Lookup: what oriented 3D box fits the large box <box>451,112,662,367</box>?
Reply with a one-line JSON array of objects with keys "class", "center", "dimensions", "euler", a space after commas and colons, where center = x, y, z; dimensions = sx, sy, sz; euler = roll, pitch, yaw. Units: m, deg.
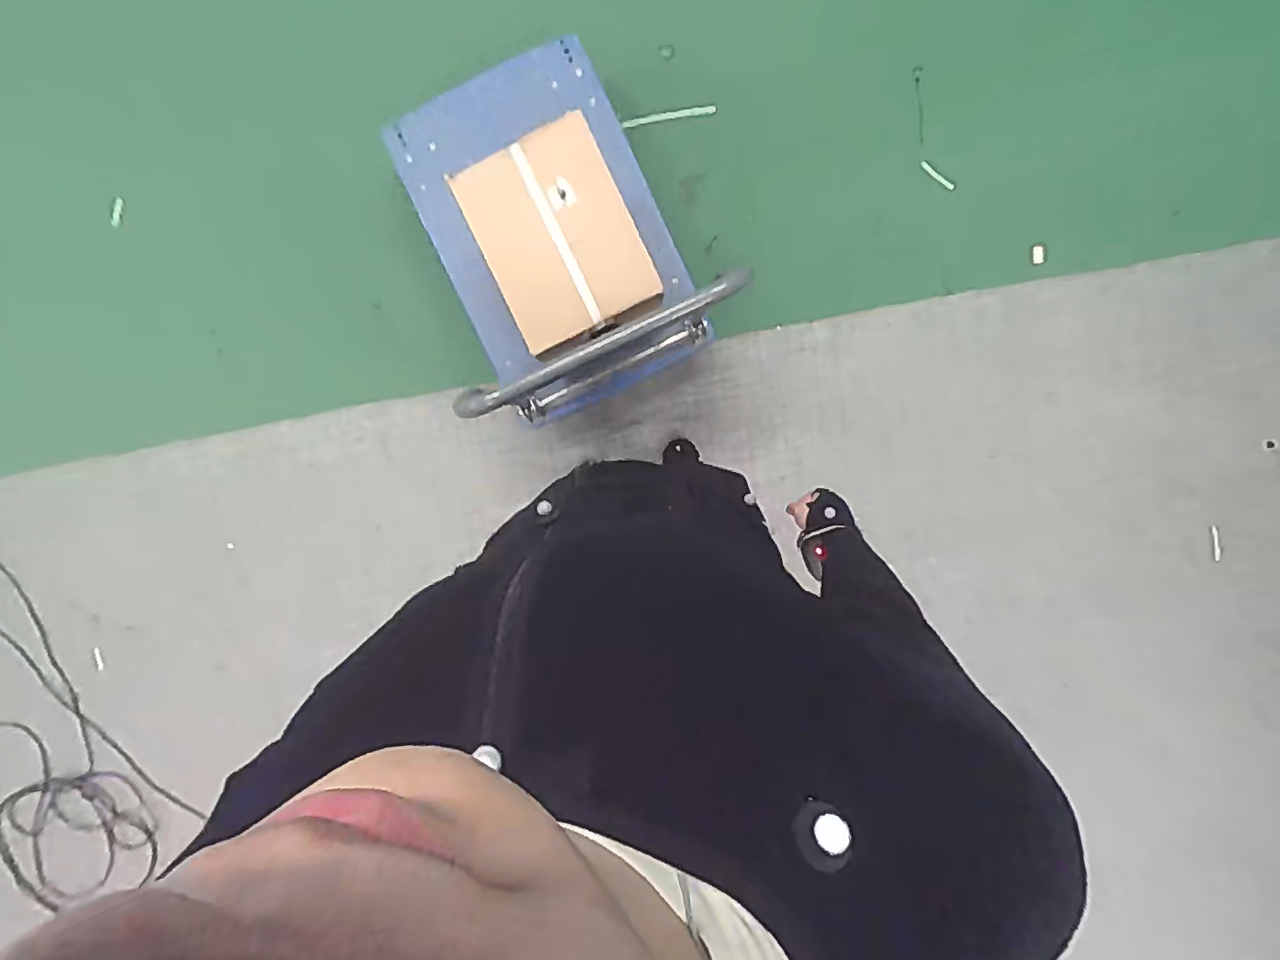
[{"class": "large box", "center": [-0.169, -0.528, 1.278], "dimensions": [0.320, 0.320, 0.408], "euler": [-25, 93, 3]}]
